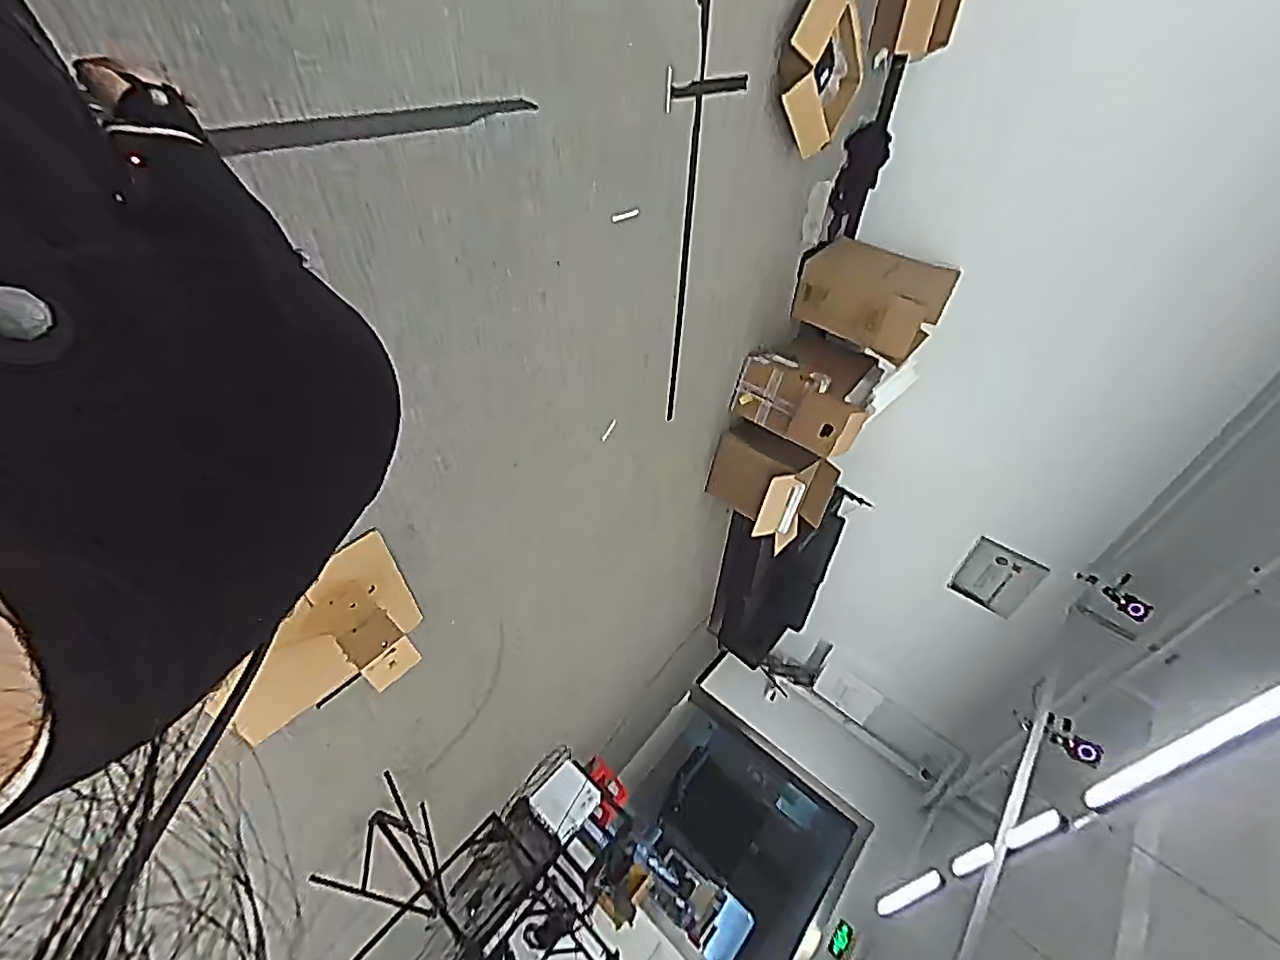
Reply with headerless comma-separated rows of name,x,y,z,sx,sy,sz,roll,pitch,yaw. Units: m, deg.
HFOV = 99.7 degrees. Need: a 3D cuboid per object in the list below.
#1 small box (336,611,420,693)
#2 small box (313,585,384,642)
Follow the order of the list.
small box,-0.885,0.576,1.829,0.168,0.176,0.179,-41,149,-30
small box,-1.009,0.497,1.903,0.168,0.176,0.179,-40,147,-31
